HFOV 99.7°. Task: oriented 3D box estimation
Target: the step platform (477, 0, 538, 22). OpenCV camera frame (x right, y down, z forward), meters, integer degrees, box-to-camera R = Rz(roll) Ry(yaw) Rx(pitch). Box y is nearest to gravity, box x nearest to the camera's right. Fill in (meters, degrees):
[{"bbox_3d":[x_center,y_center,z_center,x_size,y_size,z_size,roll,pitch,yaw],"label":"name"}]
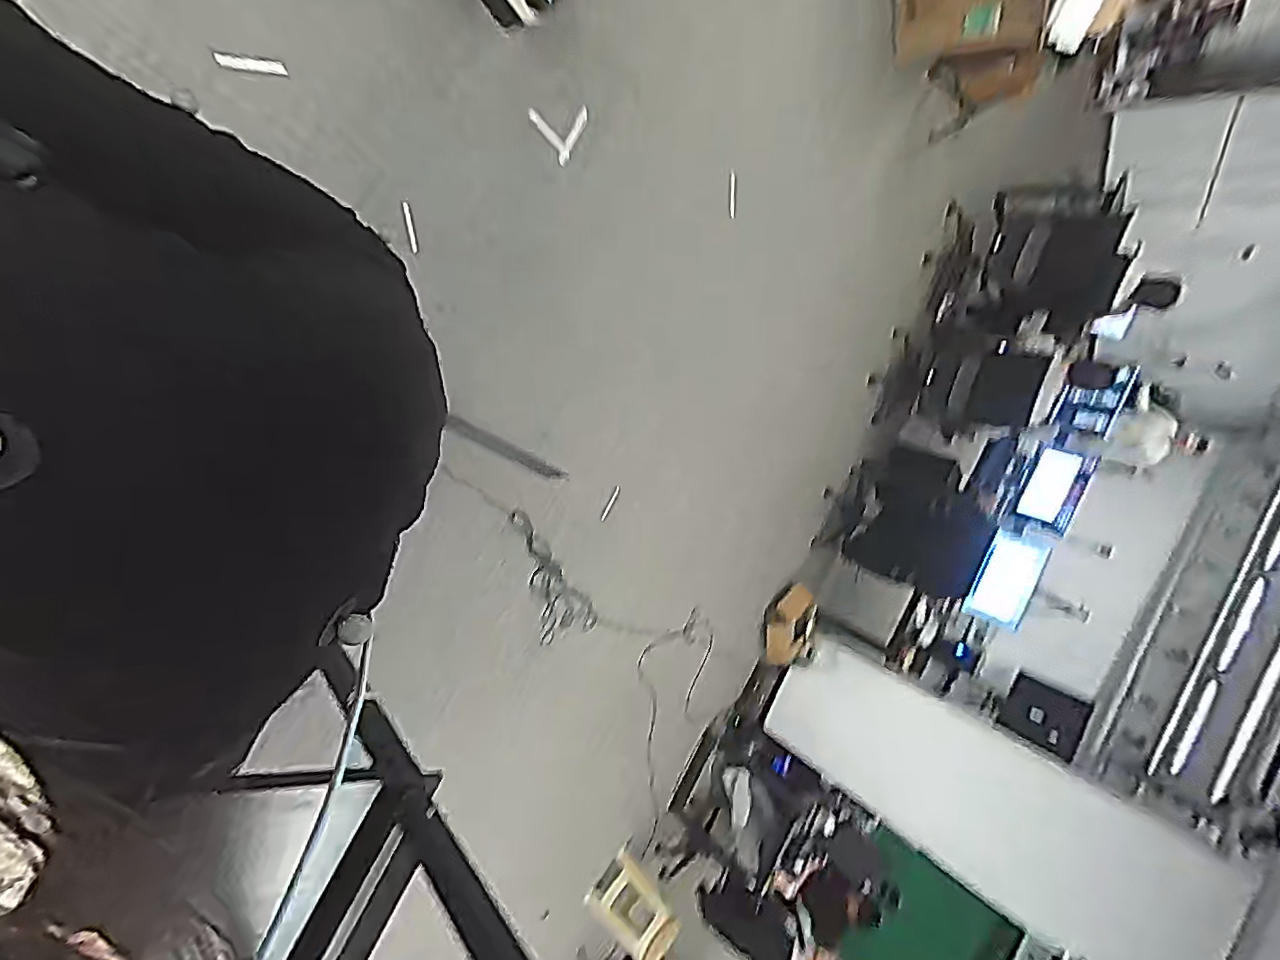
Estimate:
[{"bbox_3d":[-0.392,-1.352,1.060,0.684,0.204,0.286,39,79,-47],"label":"step platform"}]
